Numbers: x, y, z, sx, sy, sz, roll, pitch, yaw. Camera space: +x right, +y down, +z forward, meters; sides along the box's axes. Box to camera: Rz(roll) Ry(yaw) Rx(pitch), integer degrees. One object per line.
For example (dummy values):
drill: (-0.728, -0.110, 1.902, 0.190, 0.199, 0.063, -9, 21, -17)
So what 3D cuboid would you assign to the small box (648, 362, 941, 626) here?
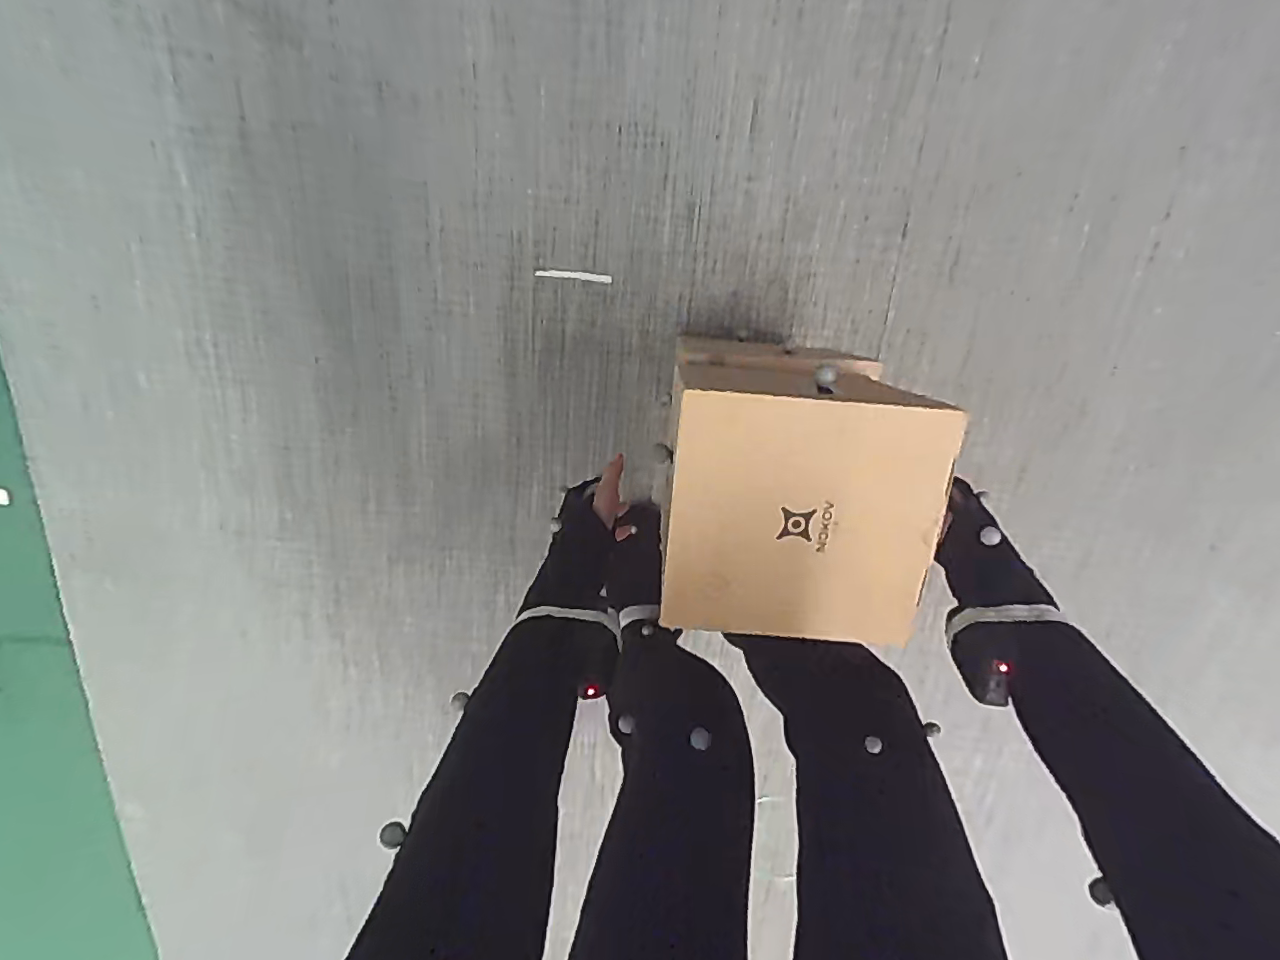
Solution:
small box: (0.100, -0.003, 0.440, 0.179, 0.176, 0.168, 4, 107, -1)

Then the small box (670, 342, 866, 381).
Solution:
small box: (0.120, -0.061, 0.592, 0.179, 0.176, 0.168, 3, 107, 2)
